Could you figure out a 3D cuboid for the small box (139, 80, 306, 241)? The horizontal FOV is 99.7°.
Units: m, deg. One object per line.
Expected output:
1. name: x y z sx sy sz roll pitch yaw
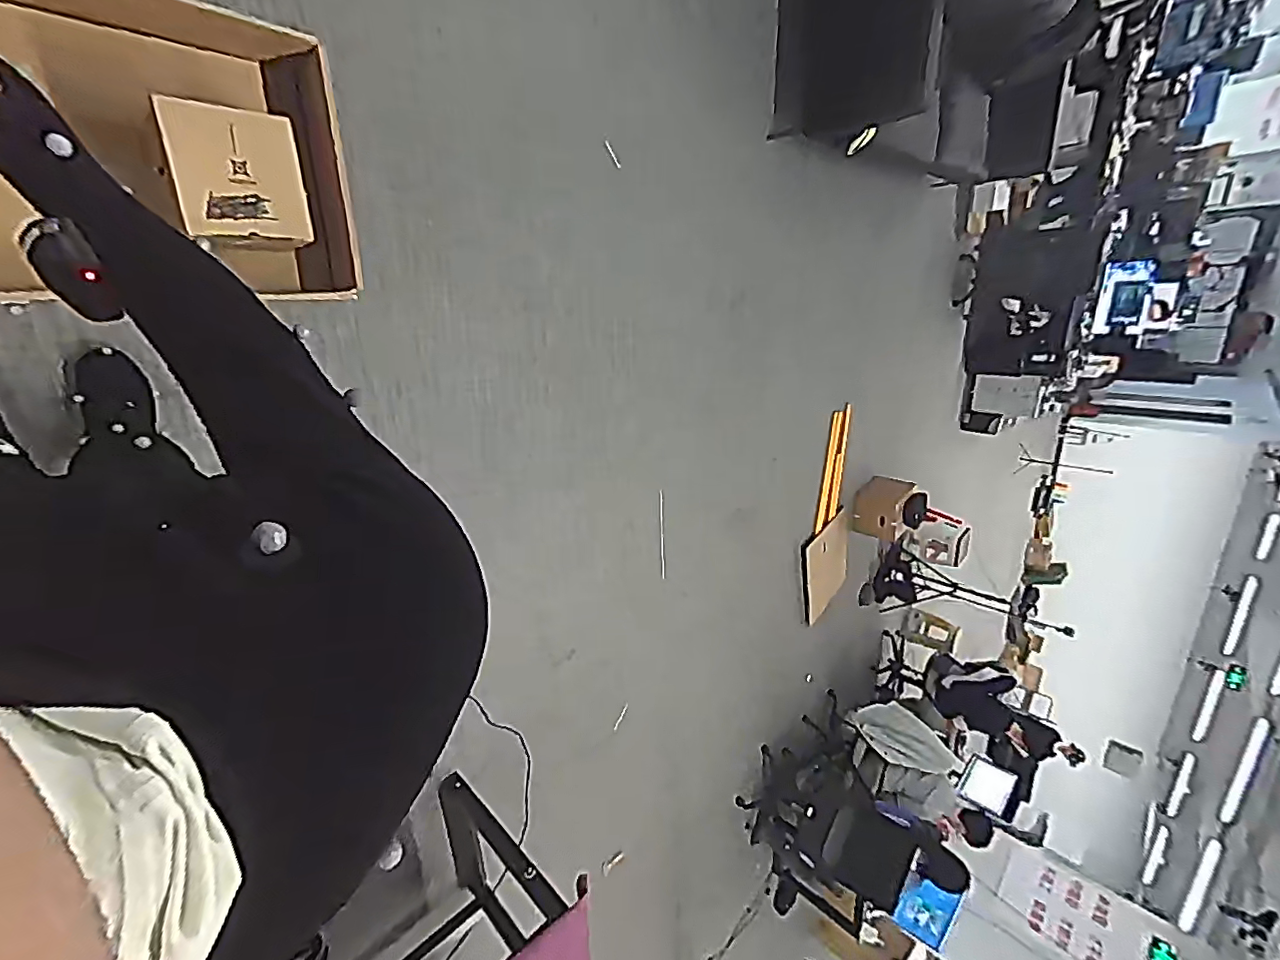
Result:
1. small box: -0.650 -0.479 0.845 0.168 0.176 0.179 -18 113 -42
